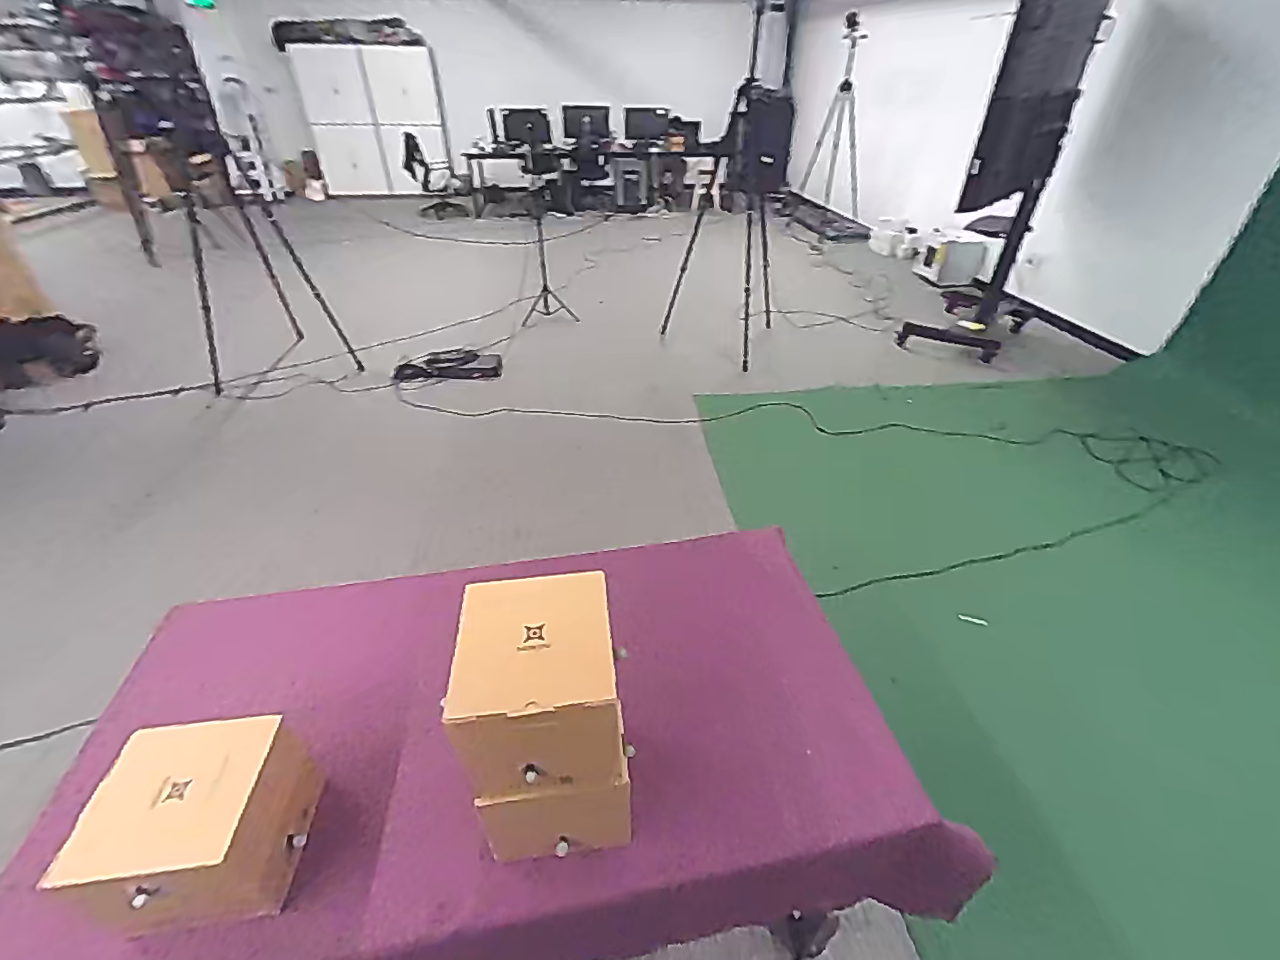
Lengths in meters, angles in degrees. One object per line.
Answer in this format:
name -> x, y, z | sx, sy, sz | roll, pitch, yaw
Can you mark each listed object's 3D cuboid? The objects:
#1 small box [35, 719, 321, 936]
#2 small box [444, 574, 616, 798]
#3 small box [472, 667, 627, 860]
small box -> -0.528, 0.419, 0.656 | 0.179, 0.176, 0.168 | -4, 37, -7
small box -> -0.117, 0.236, 0.633 | 0.168, 0.176, 0.179 | -5, 38, -6
small box -> -0.115, 0.374, 0.722 | 0.179, 0.176, 0.168 | -4, 36, -7
